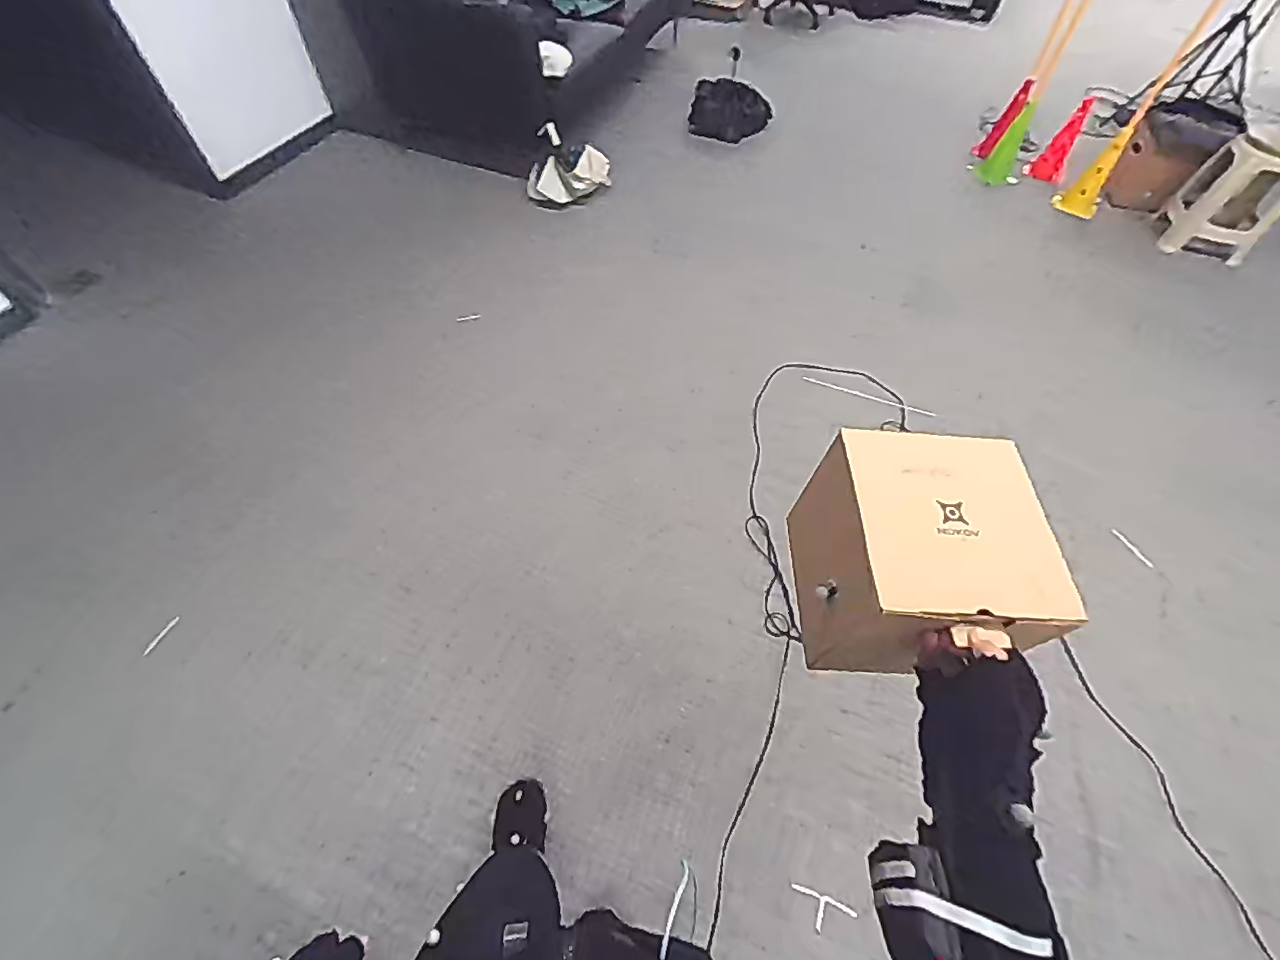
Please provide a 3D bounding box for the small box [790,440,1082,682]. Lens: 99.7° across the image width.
[{"bbox_3d":[0.254,0.085,0.518,0.168,0.176,0.179,5,57,-2],"label":"small box"}]
